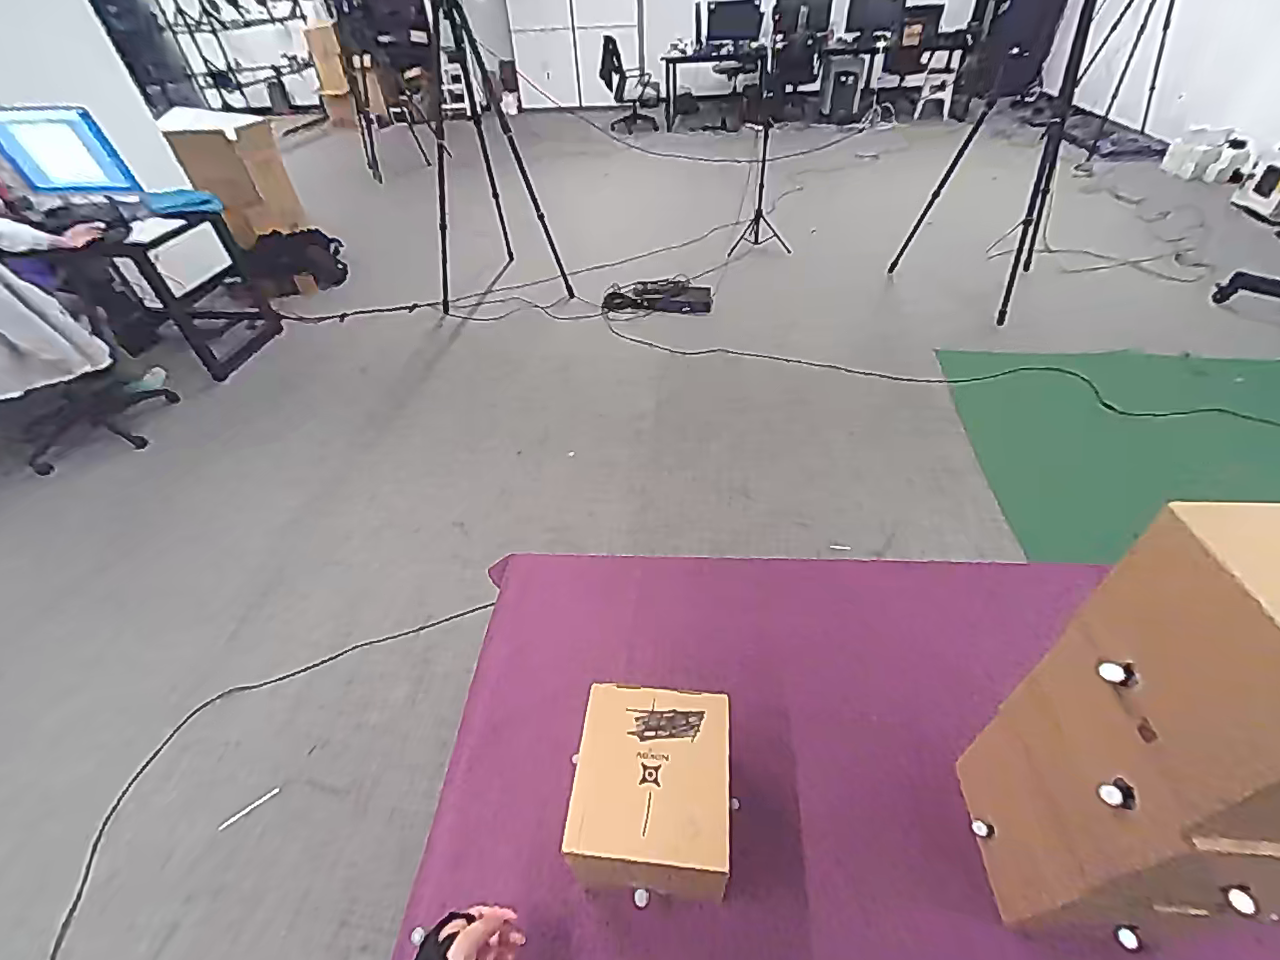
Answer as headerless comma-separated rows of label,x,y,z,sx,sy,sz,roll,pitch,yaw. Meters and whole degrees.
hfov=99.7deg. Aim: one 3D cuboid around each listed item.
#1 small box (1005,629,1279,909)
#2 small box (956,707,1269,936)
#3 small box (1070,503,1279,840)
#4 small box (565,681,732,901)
small box,0.471,0.256,0.480,0.168,0.176,0.179,2,44,5
small box,0.483,0.375,0.594,0.168,0.176,0.179,2,45,6
small box,0.459,0.134,0.372,0.179,0.176,0.168,1,43,6
small box,0.019,0.364,0.637,0.168,0.176,0.179,2,45,7
